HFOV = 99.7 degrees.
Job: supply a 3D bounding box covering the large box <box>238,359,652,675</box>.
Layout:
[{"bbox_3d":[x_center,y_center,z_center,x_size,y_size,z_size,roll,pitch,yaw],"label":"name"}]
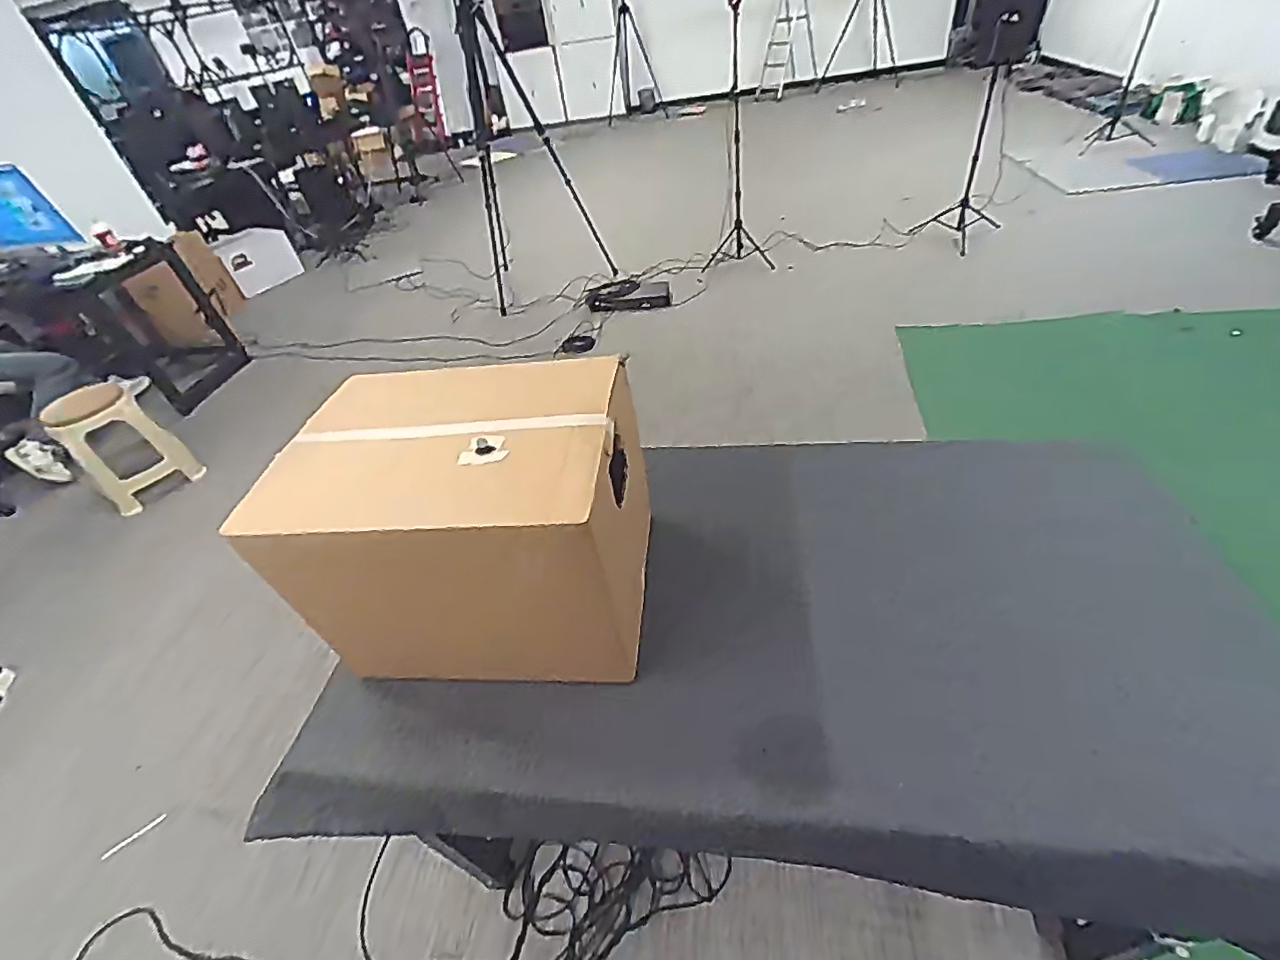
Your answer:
[{"bbox_3d":[-0.203,0.055,0.750,0.408,0.320,0.320,-2,43,8],"label":"large box"}]
